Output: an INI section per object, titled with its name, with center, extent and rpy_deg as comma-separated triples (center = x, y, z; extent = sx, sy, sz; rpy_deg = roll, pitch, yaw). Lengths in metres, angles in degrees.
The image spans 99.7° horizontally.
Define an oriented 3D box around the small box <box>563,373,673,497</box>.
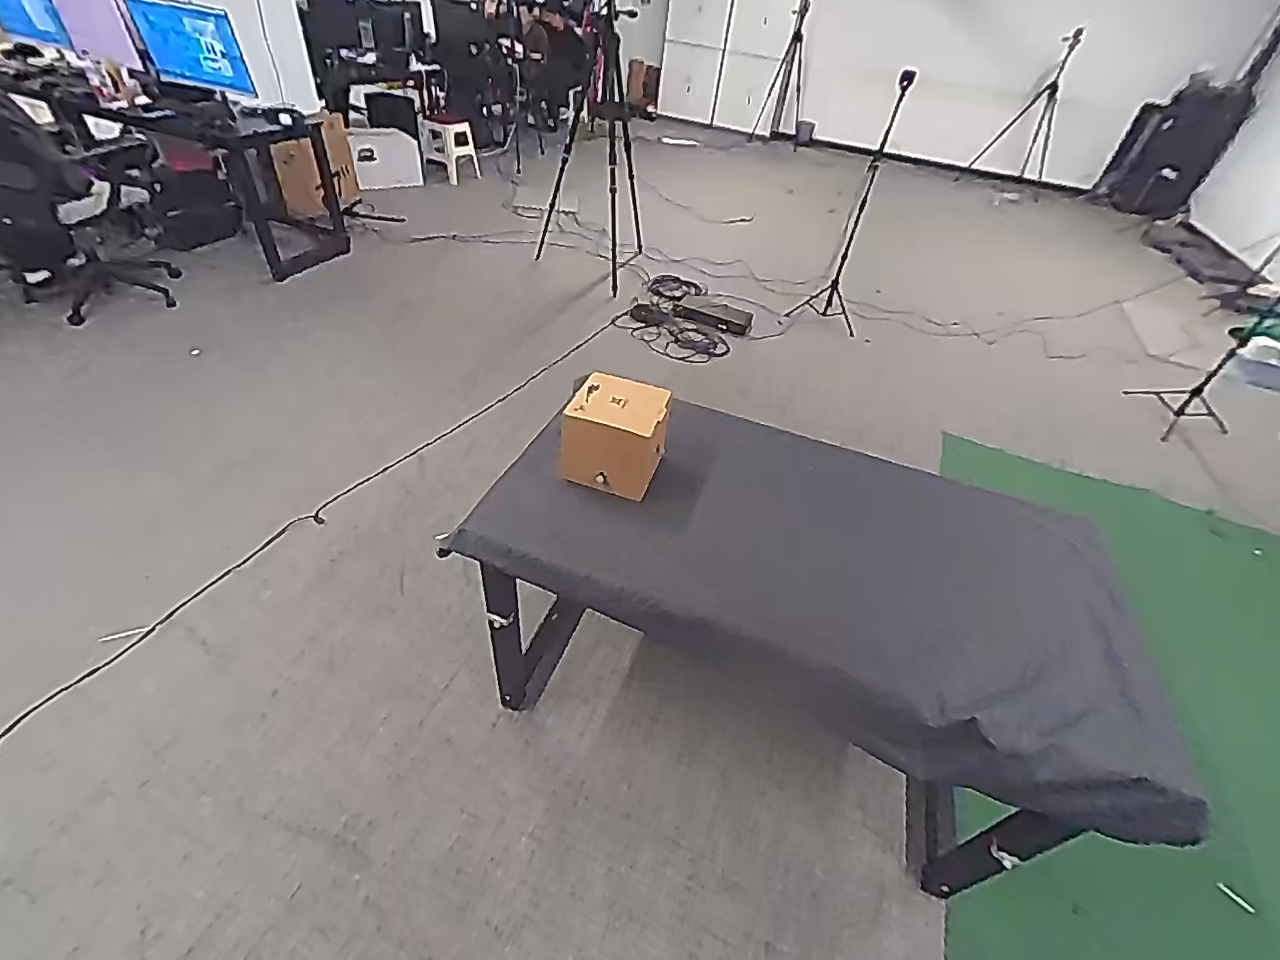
[small box]
center = -0.047, -0.088, 1.111
extent = 0.179, 0.176, 0.168
rpy_deg = 17, 43, 8
